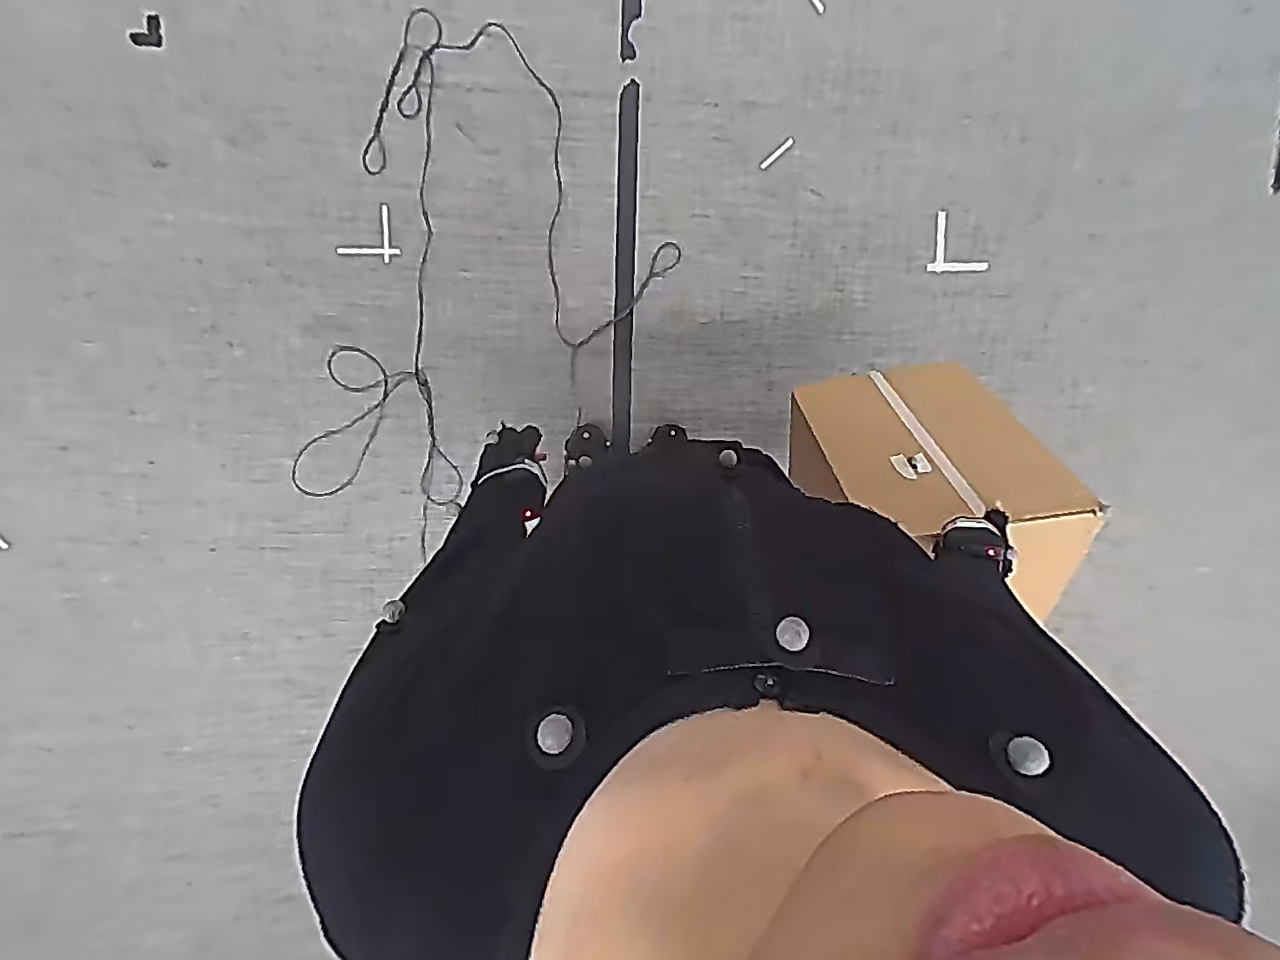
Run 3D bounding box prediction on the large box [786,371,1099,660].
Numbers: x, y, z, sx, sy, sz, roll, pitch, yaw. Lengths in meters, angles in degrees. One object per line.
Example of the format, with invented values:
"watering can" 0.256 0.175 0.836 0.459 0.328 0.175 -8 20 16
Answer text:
"large box" 0.479 0.054 0.985 0.320 0.408 0.320 -10 132 3
